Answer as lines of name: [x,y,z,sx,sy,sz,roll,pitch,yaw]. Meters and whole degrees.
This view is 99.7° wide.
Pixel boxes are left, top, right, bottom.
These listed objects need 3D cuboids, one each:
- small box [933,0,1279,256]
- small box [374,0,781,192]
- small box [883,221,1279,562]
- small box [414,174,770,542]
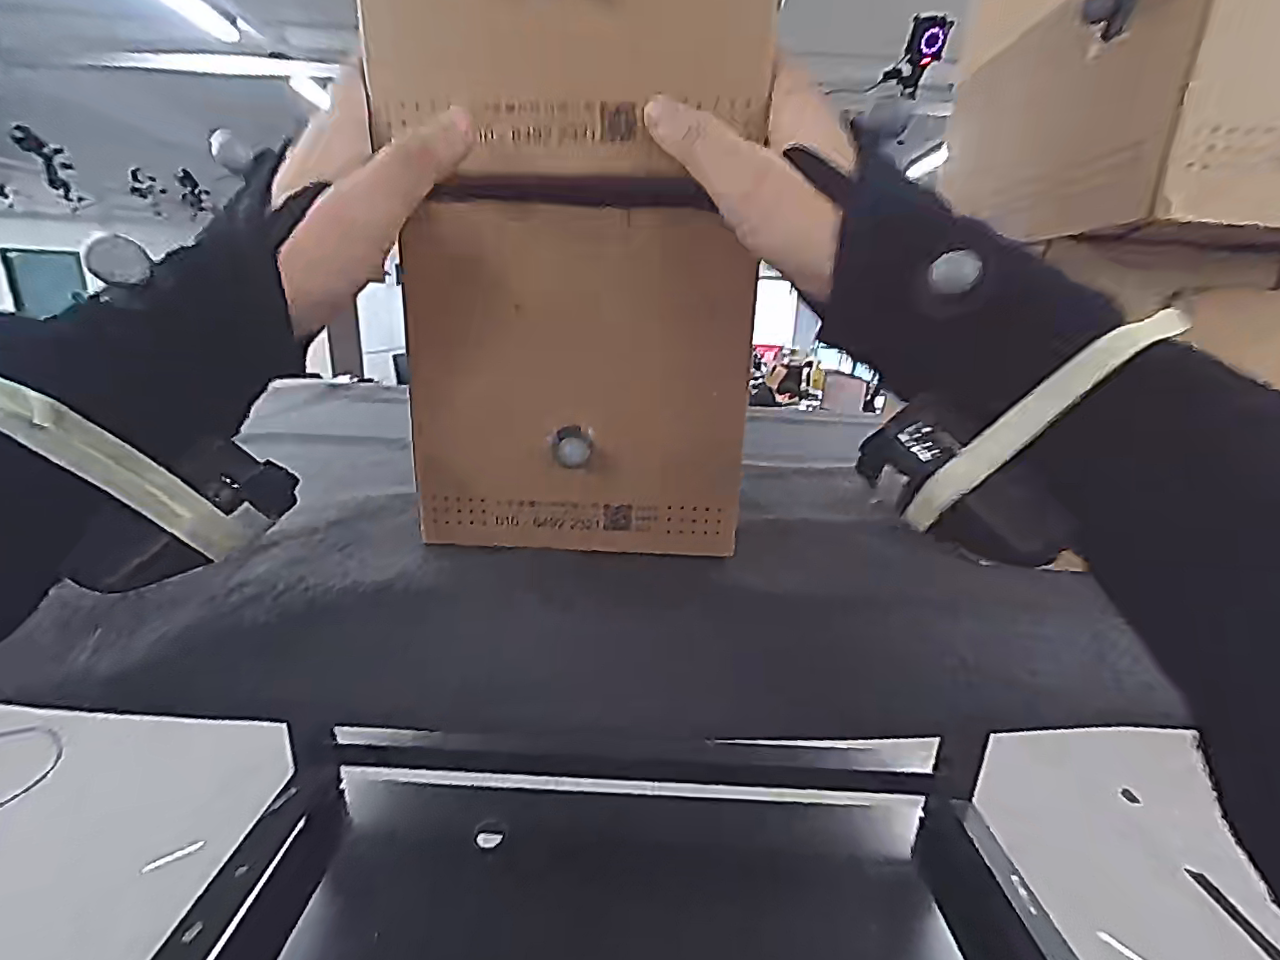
small box: [0.282,-0.204,0.270,0.168,0.176,0.179,3,15,-2]
small box: [-0.022,-0.231,0.278,0.168,0.176,0.179,1,14,3]
small box: [0.275,-0.057,0.345,0.168,0.176,0.179,4,15,4]
small box: [-0.024,-0.072,0.341,0.168,0.176,0.179,2,15,0]
